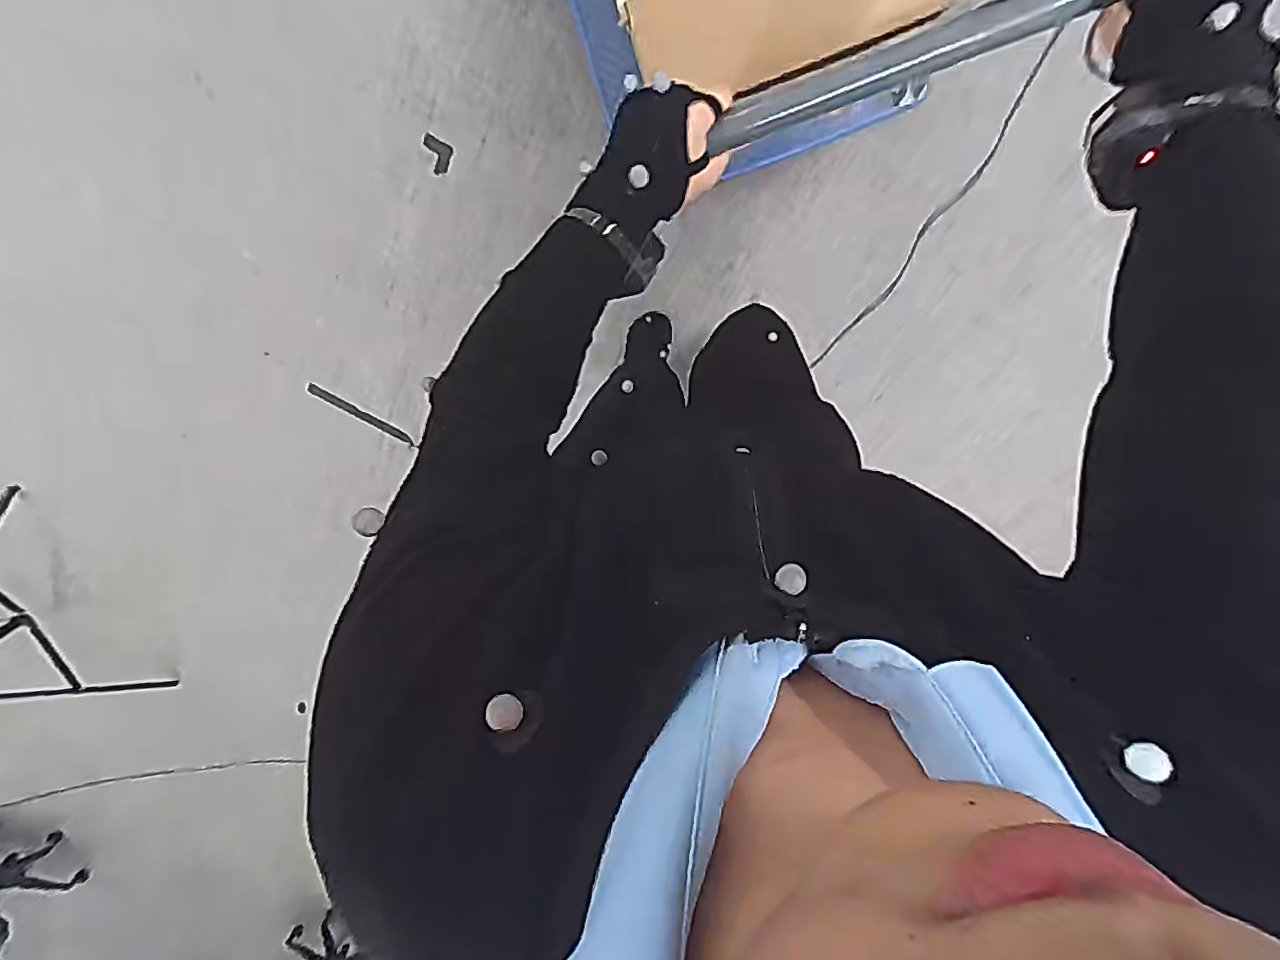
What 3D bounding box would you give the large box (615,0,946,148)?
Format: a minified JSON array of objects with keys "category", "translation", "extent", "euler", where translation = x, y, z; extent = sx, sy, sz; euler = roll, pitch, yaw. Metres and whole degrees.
[{"category":"large box","translation":[0.167,-0.749,0.805],"extent":[0.408,0.320,0.320],"euler":[-15,116,10]}]
